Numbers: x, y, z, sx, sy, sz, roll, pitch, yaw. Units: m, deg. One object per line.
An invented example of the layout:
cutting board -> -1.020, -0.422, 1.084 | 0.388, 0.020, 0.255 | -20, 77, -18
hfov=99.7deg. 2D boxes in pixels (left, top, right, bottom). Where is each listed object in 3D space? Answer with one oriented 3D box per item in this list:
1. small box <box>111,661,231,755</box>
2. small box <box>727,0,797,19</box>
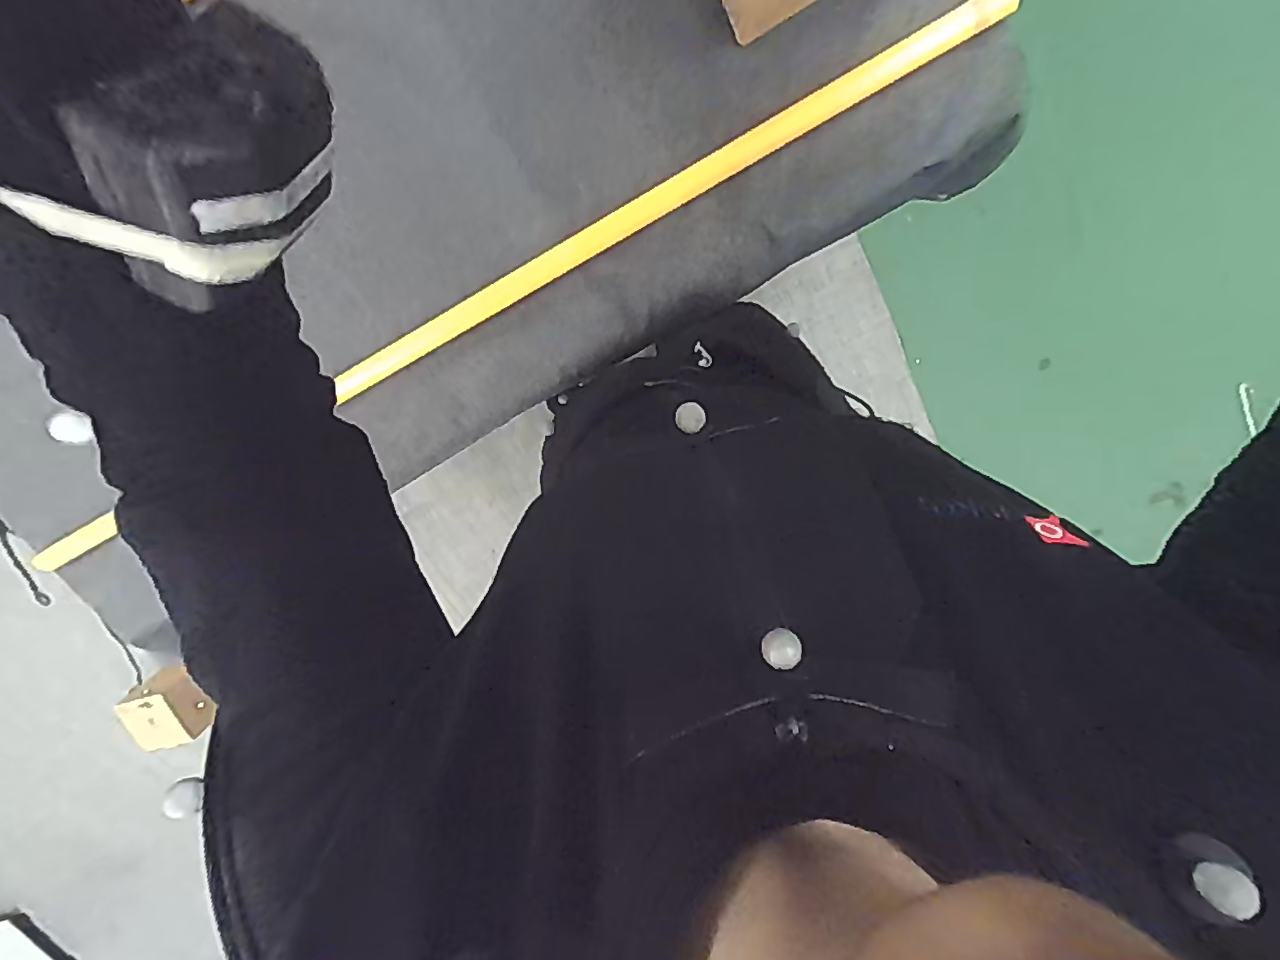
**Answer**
small box -> -1.372, 0.669, 1.598 | 0.168, 0.176, 0.179 | -16, 108, 8
small box -> 0.117, -0.469, 0.367 | 0.168, 0.176, 0.179 | -27, 106, 12
